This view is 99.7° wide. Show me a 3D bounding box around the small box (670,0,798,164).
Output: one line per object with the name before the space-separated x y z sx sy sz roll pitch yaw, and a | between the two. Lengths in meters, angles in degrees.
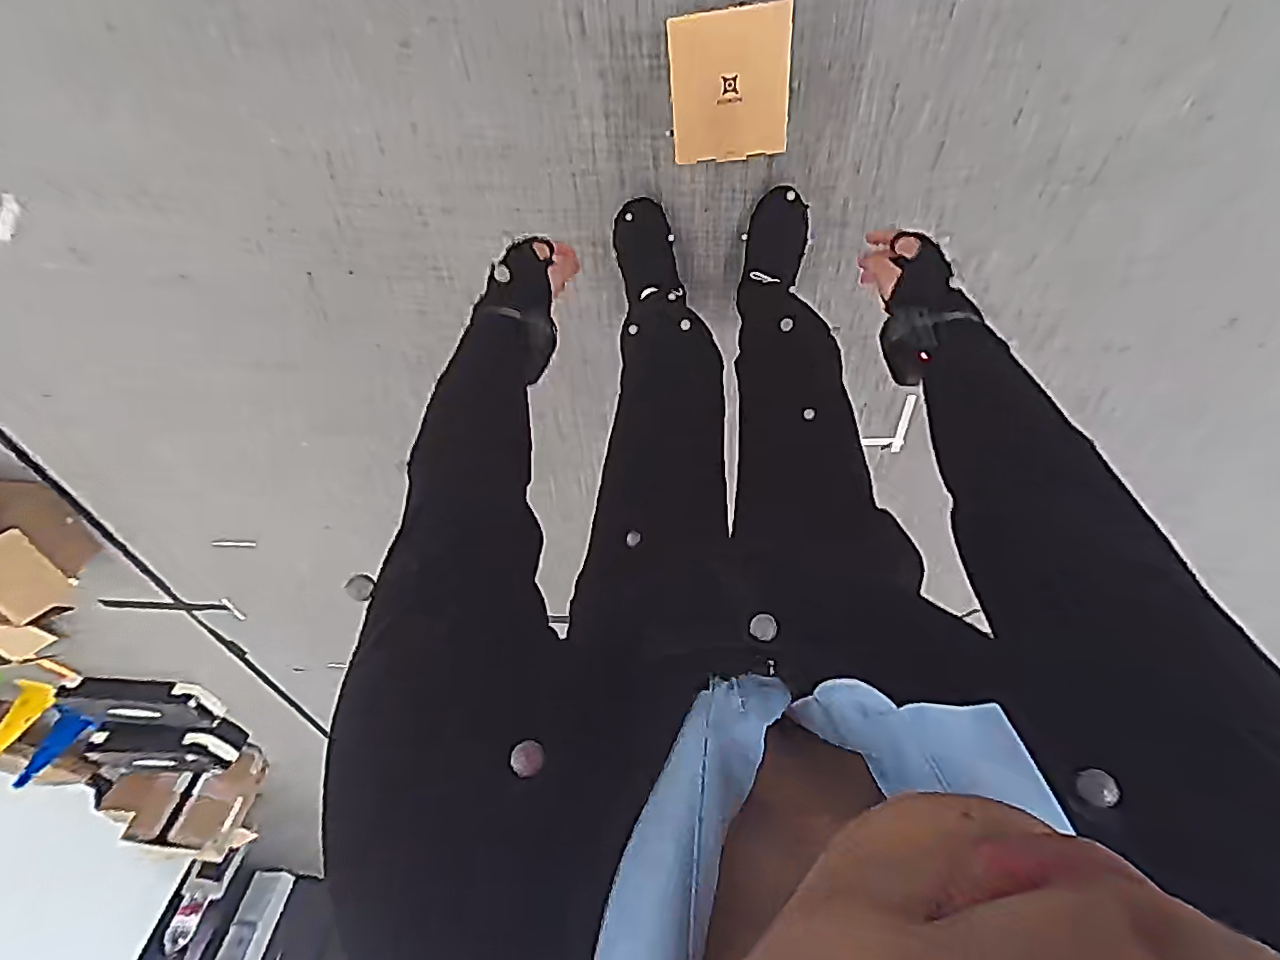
small box | 0.132 -0.596 0.804 0.168 0.176 0.179 -3 133 7
